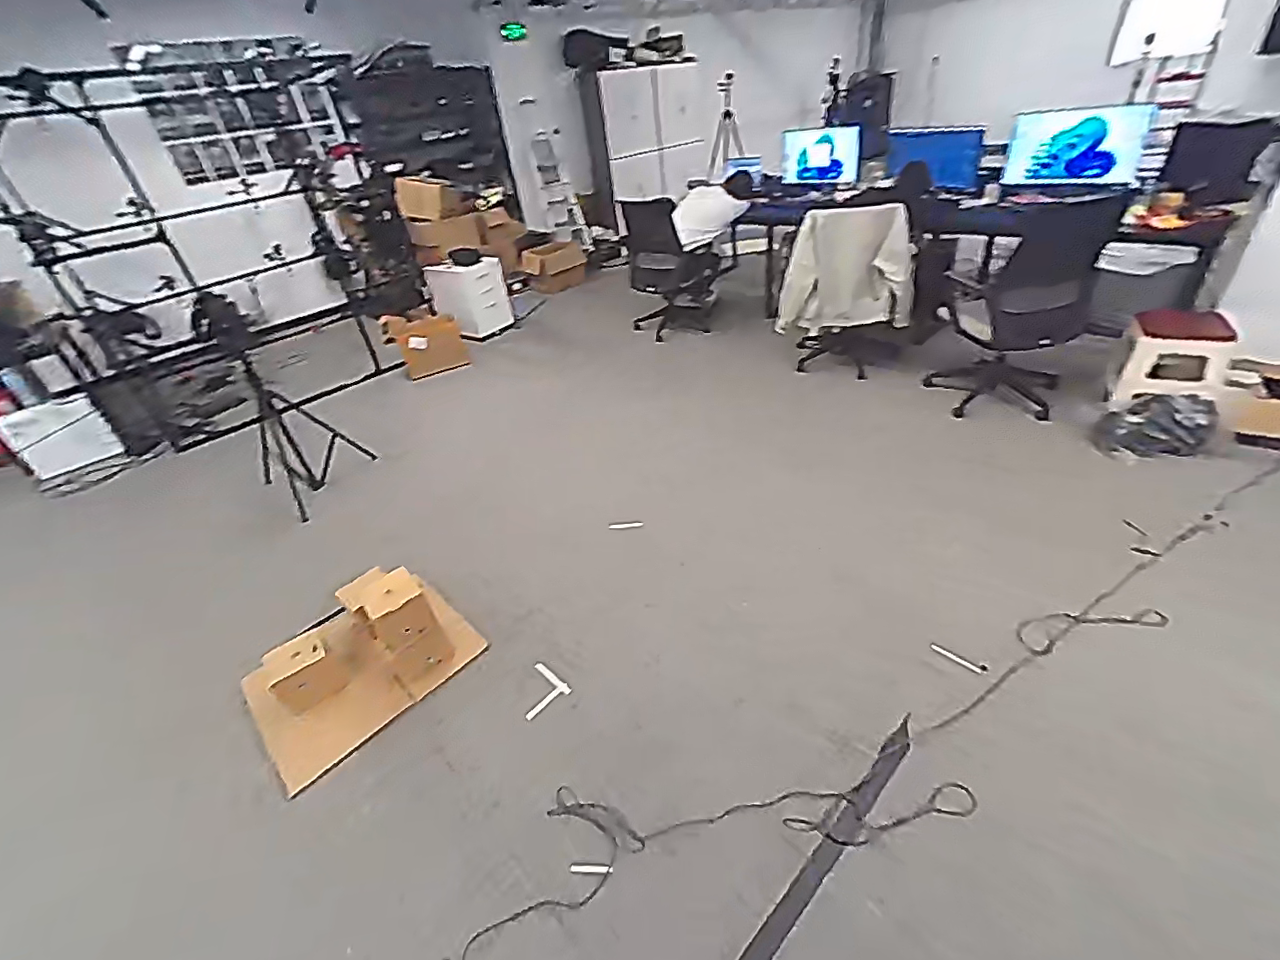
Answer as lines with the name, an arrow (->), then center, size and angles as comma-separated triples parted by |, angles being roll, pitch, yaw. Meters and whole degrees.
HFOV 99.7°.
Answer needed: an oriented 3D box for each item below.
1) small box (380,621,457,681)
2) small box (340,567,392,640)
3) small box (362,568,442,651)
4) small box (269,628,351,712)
small box -> -0.772, 0.564, 1.895 | 0.168, 0.176, 0.179 | -35, 43, -31
small box -> -1.004, 0.474, 2.078 | 0.168, 0.176, 0.179 | 20, 44, 37
small box -> -0.791, 0.432, 1.802 | 0.168, 0.176, 0.179 | -32, 42, -29
small box -> -1.125, 0.652, 1.845 | 0.179, 0.176, 0.168 | -29, 40, -24
